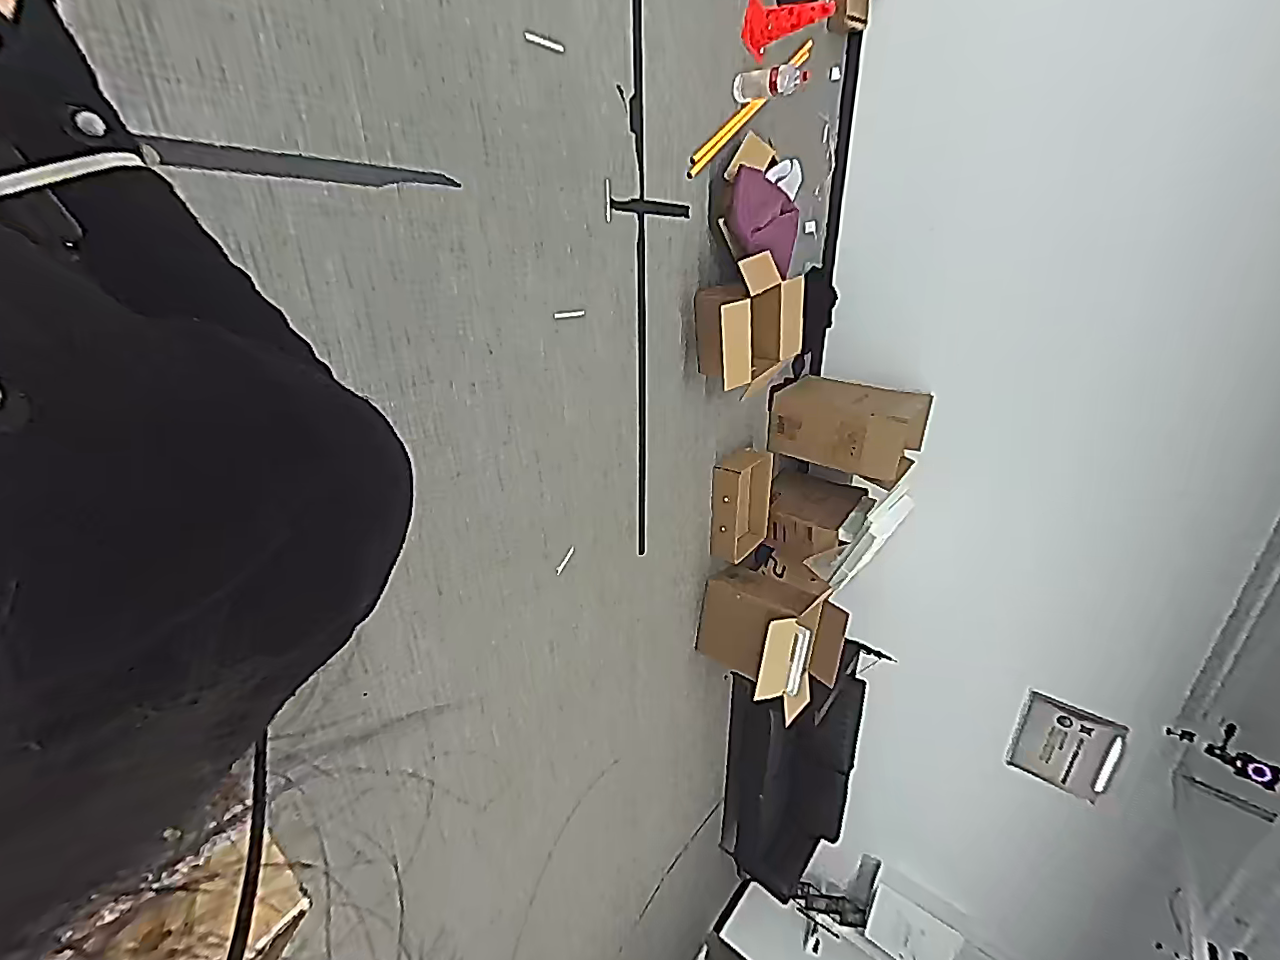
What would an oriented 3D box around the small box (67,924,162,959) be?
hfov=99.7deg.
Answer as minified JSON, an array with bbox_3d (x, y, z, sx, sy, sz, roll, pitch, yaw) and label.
[{"bbox_3d":[-0.871,0.871,0.849,0.179,0.176,0.168,-34,126,-40],"label":"small box"}]
